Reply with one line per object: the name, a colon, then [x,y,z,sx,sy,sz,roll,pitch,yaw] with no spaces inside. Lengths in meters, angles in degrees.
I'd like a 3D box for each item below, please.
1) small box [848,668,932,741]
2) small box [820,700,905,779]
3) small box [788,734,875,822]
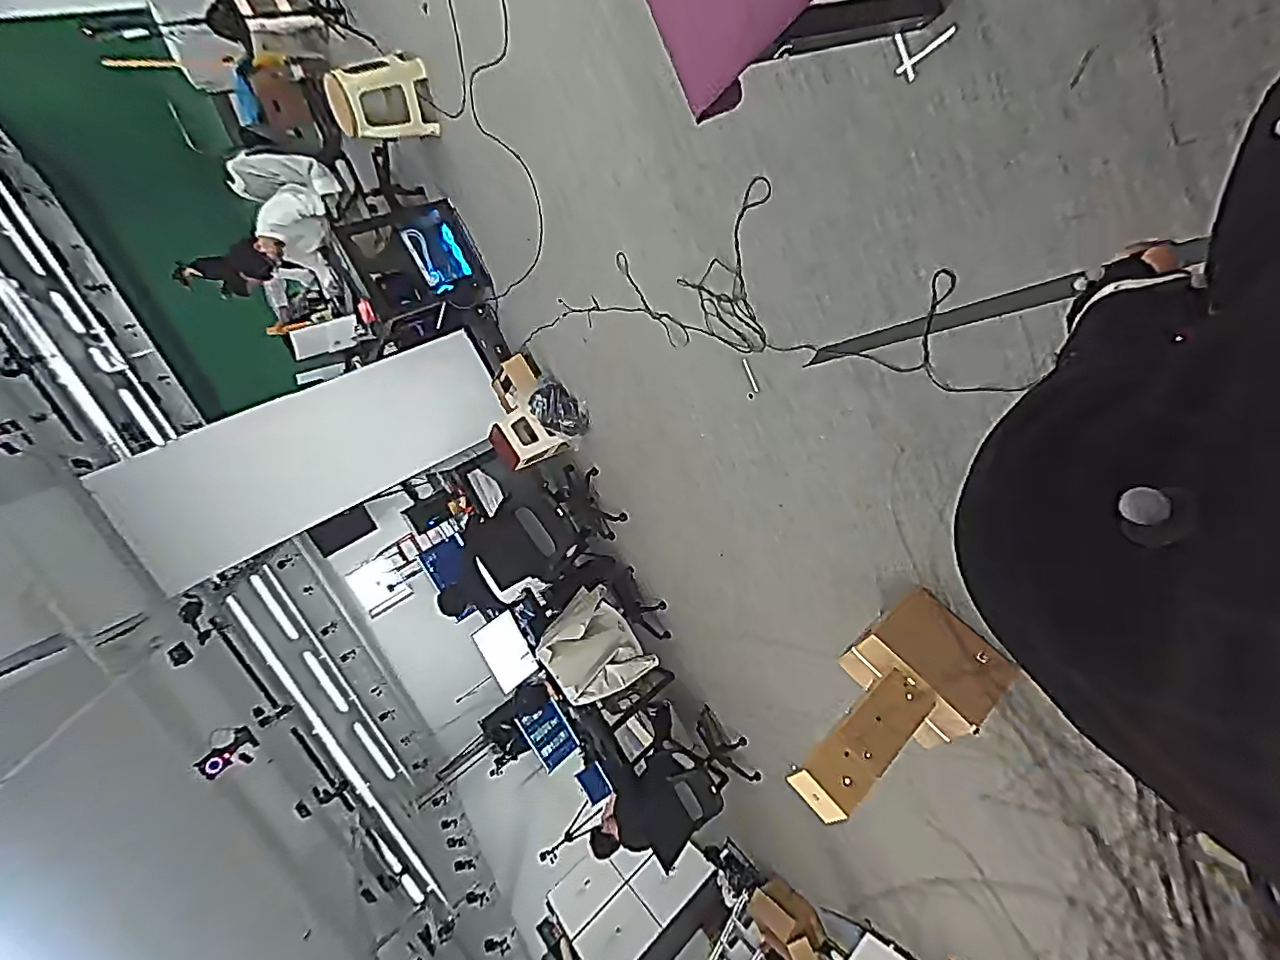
small box: [0.854,0.777,1.841,0.168,0.176,0.179,45,150,24]
small box: [0.729,0.857,1.770,0.168,0.176,0.179,45,151,24]
small box: [0.603,0.931,1.697,0.168,0.176,0.179,45,151,24]
